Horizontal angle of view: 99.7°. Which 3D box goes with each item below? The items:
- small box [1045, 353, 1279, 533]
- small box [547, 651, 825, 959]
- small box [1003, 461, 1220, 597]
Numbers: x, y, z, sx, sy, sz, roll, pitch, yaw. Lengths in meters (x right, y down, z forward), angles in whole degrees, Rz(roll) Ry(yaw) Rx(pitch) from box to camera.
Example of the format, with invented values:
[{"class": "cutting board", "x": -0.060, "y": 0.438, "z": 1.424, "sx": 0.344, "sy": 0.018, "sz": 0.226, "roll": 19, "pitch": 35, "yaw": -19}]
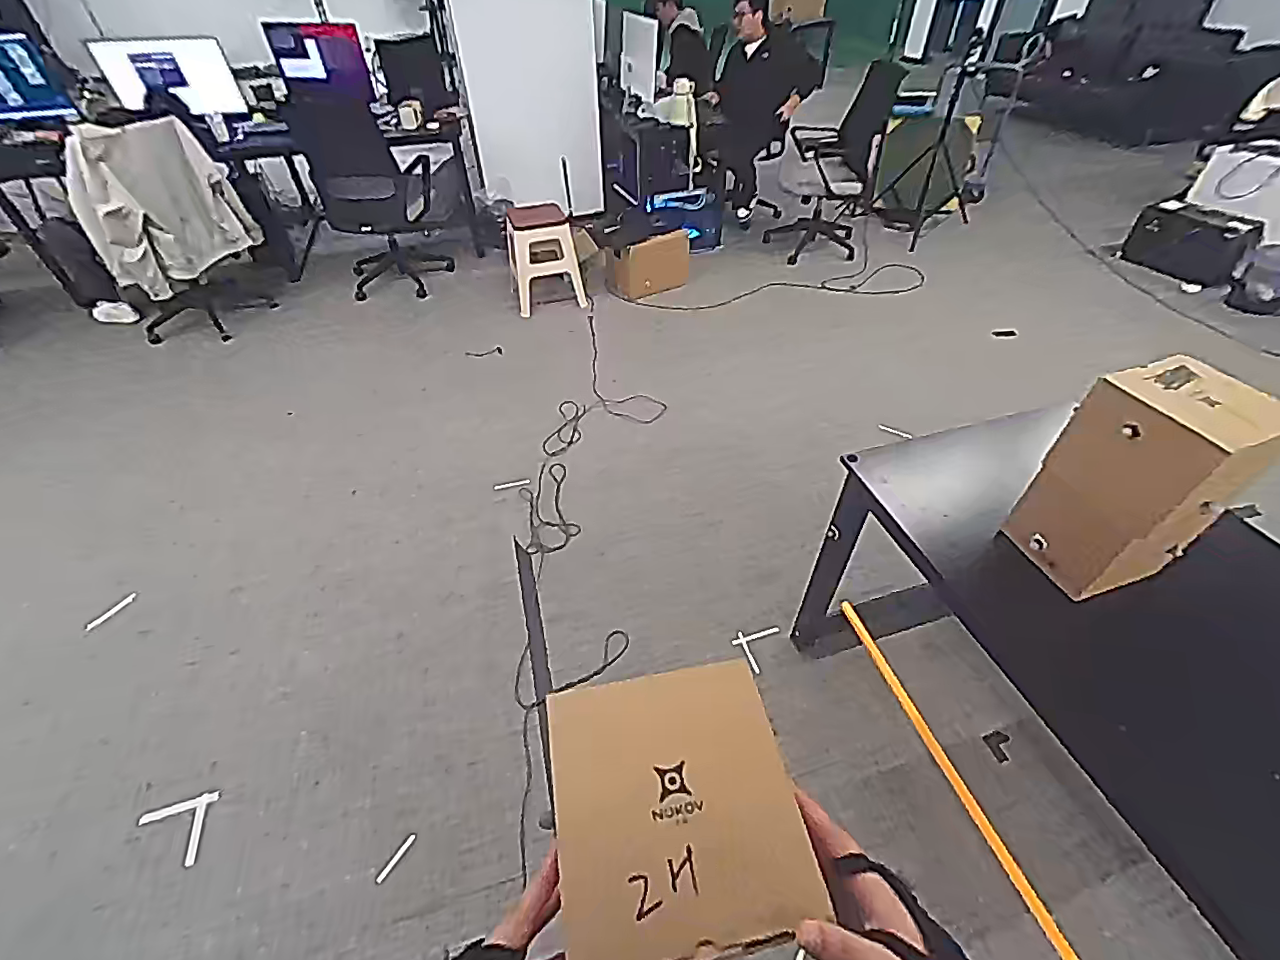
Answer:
[{"class": "small box", "x": 0.743, "y": -0.054, "z": 0.774, "sx": 0.168, "sy": 0.176, "sz": 0.179, "roll": -15, "pitch": 46, "yaw": -13}, {"class": "small box", "x": 0.020, "y": 0.268, "z": 0.438, "sx": 0.168, "sy": 0.176, "sz": 0.179, "roll": -9, "pitch": 47, "yaw": -7}, {"class": "small box", "x": 0.753, "y": 0.063, "z": 0.889, "sx": 0.179, "sy": 0.176, "sz": 0.168, "roll": -15, "pitch": 45, "yaw": -12}]
